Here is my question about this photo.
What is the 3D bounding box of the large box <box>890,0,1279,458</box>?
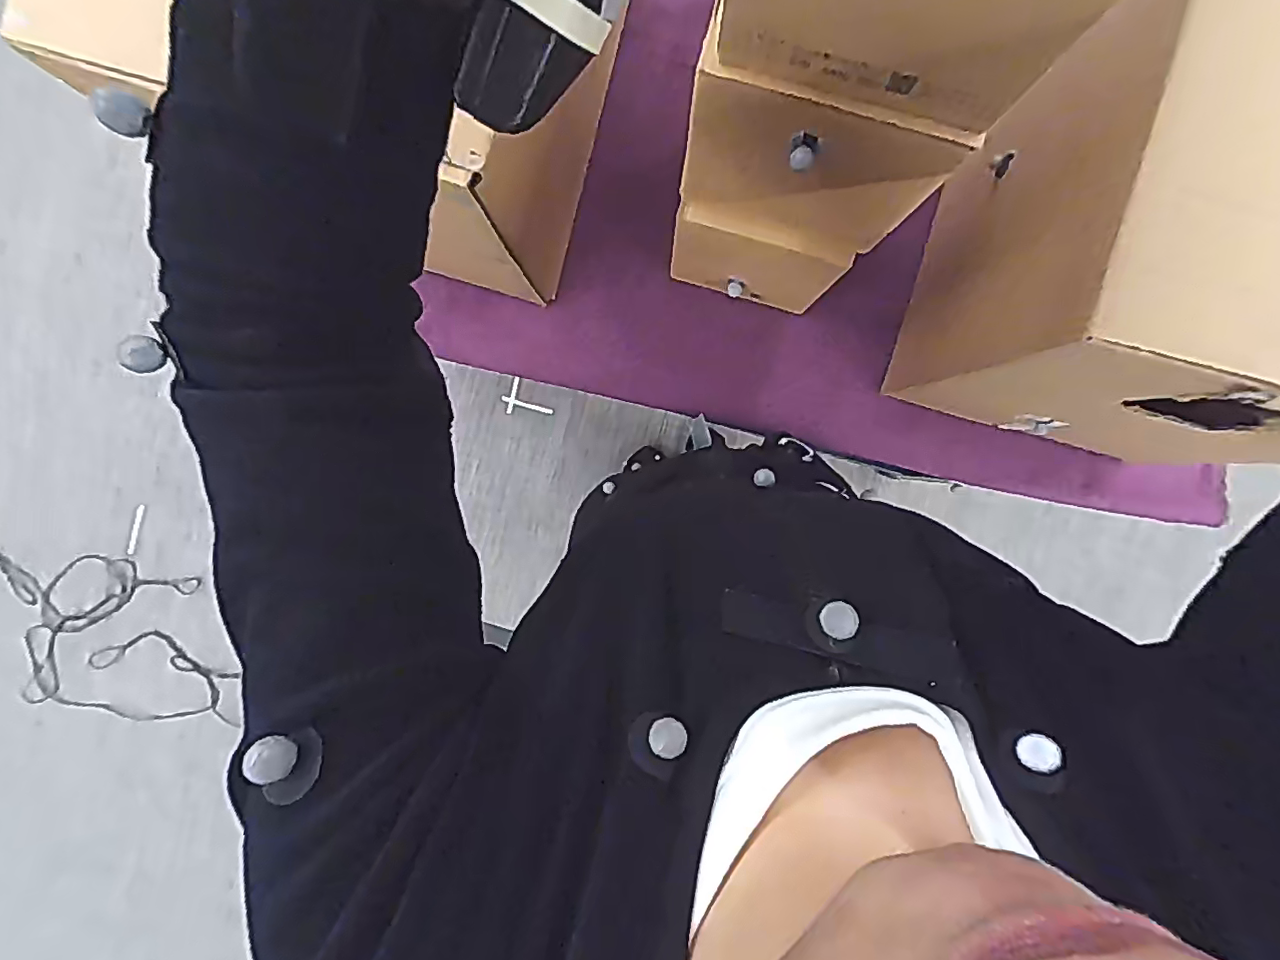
[{"bbox_3d":[0.479,-0.248,0.484,0.320,0.320,0.408,15,92,0],"label":"large box"}]
